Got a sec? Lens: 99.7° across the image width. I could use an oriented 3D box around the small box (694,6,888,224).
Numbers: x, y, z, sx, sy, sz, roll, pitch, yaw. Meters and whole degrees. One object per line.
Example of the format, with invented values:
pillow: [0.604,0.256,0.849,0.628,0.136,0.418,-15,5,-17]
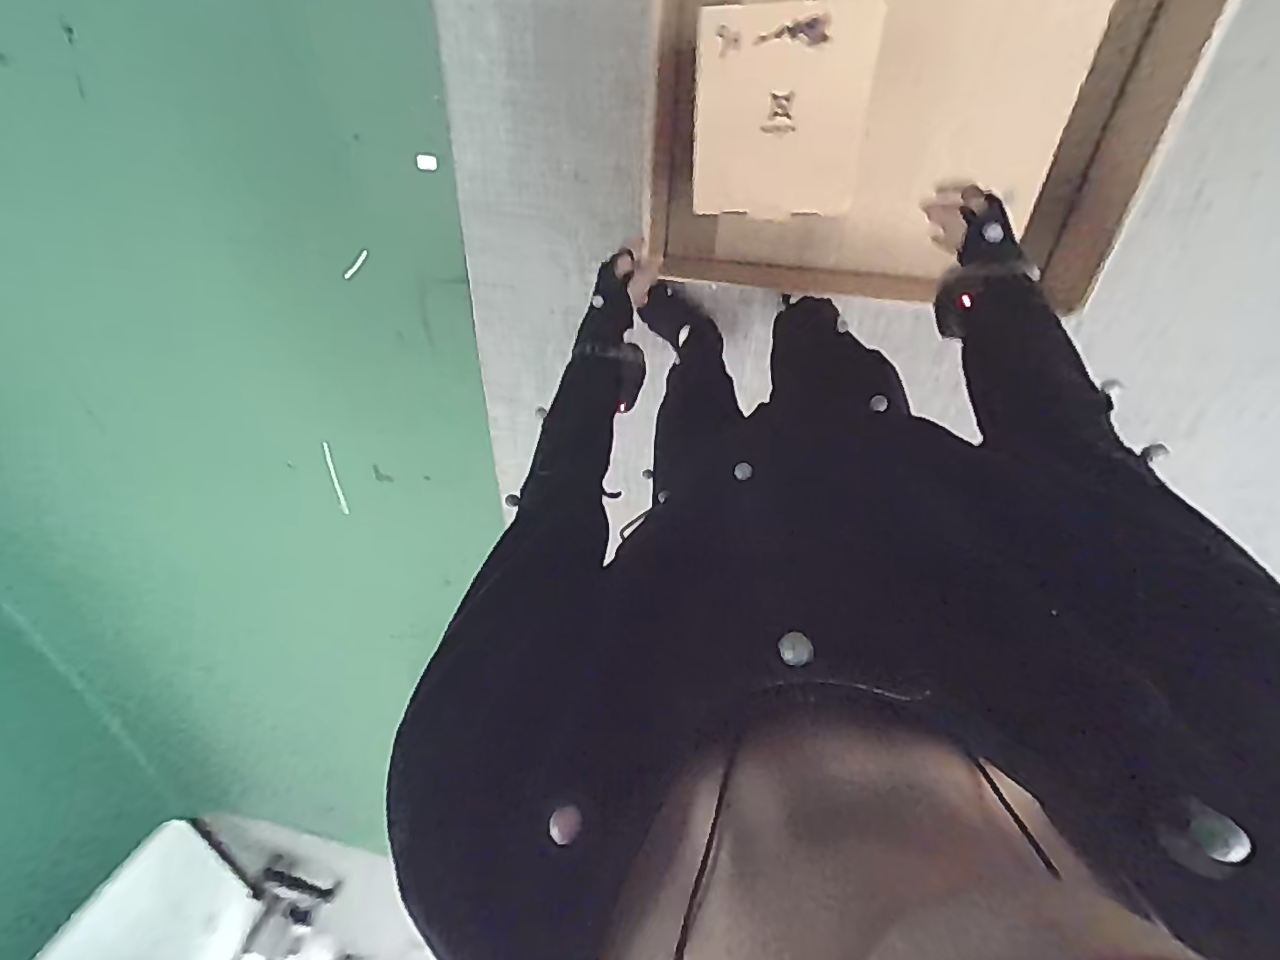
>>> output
small box: [0.157,-0.392,0.595,0.168,0.176,0.179,7,124,11]
